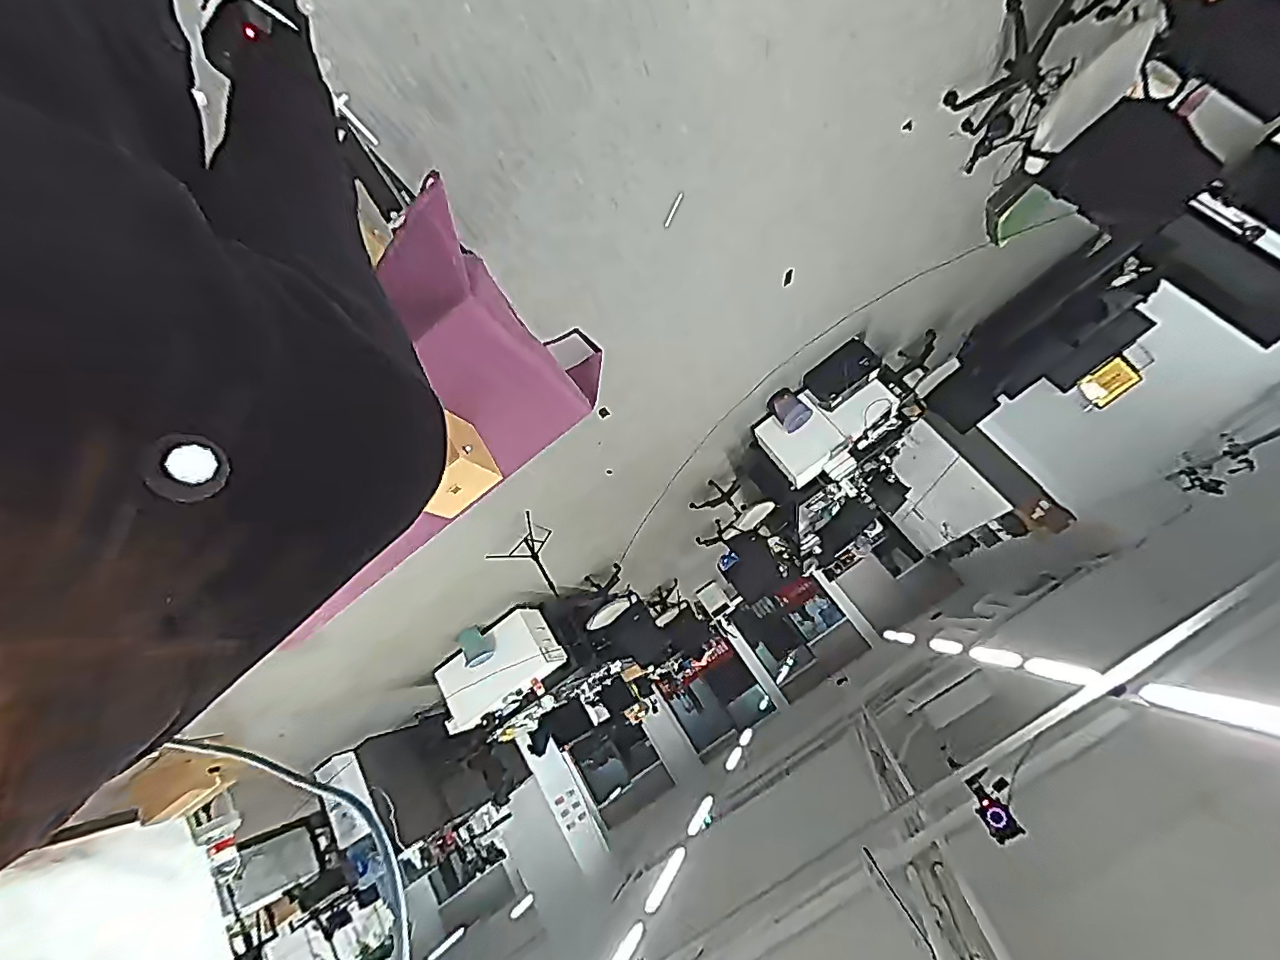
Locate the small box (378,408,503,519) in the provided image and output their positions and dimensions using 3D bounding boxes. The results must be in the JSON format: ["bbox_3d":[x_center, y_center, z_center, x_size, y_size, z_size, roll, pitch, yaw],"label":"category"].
[{"bbox_3d":[-0.451,-0.036,1.227,0.168,0.176,0.179,-38,158,5],"label":"small box"}]
